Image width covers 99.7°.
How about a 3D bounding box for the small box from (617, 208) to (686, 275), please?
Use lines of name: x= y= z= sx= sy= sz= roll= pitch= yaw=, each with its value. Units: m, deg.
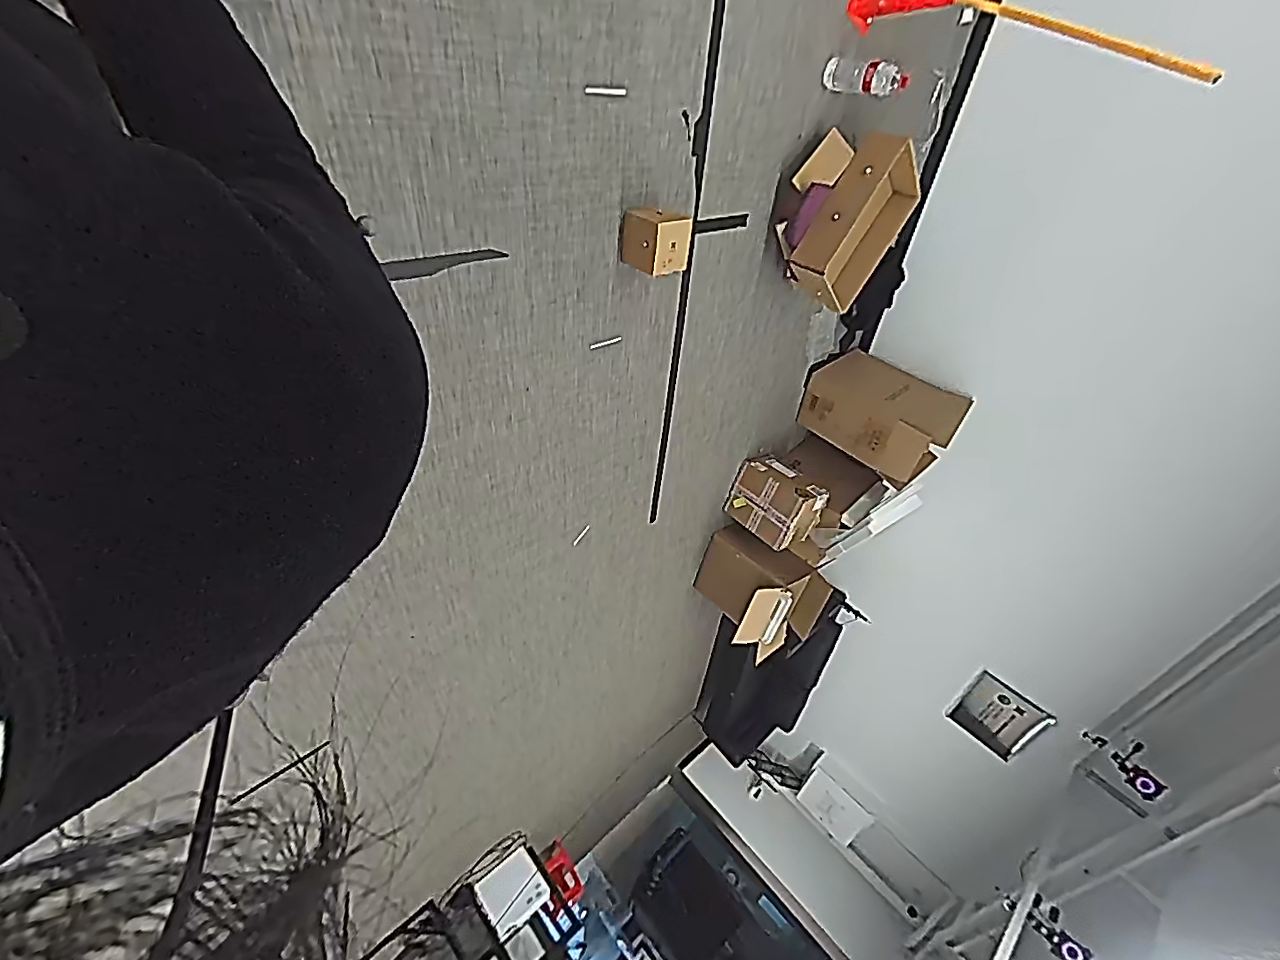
small box: x=0.035 y=-0.842 z=1.891 sx=0.168 sy=0.176 sz=0.179 roll=-26 pitch=140 yaw=-34
